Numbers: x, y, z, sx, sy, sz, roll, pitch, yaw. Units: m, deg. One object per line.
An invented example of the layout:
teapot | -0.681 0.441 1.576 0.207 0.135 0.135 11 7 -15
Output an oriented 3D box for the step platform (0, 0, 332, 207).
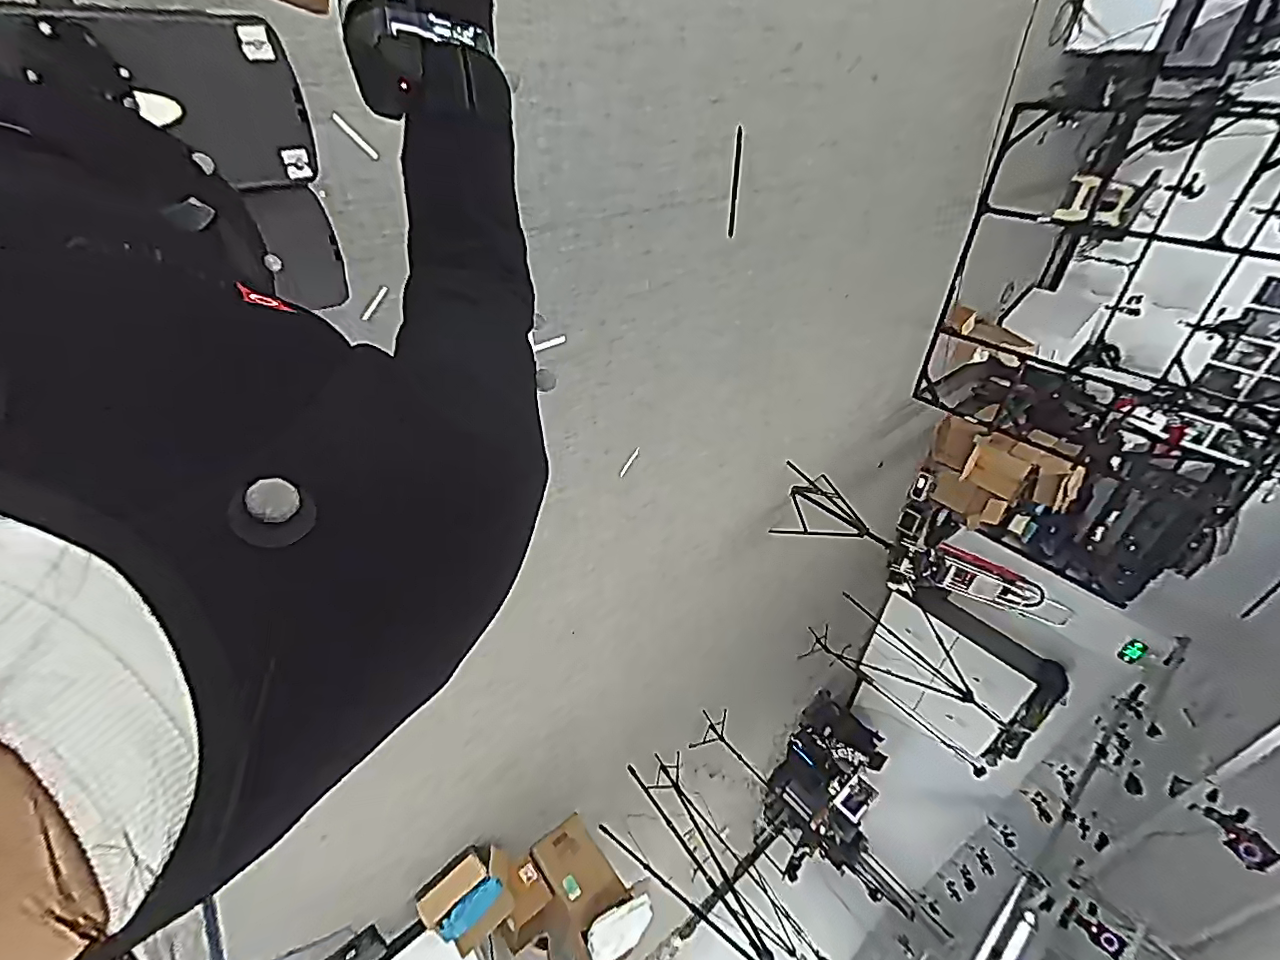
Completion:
step platform | -0.959 -0.691 0.984 0.684 0.204 0.286 -27 136 -31
